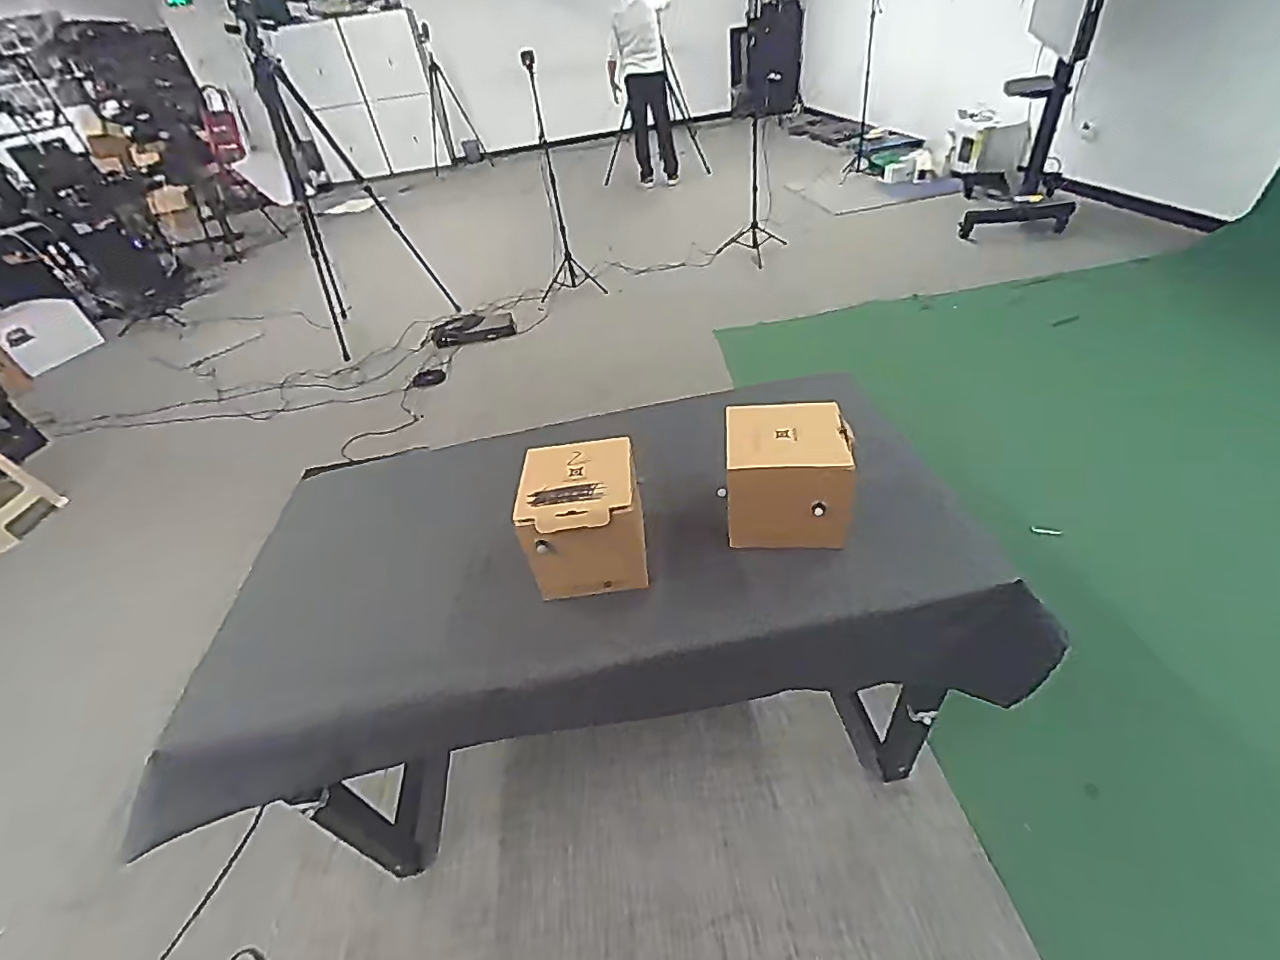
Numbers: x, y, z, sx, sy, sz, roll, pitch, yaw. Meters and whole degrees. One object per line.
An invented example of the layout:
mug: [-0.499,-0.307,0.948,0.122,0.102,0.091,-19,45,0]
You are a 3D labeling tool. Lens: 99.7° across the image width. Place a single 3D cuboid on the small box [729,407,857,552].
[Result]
small box: [0.232,0.002,0.862,0.179,0.176,0.168,-2,39,10]
